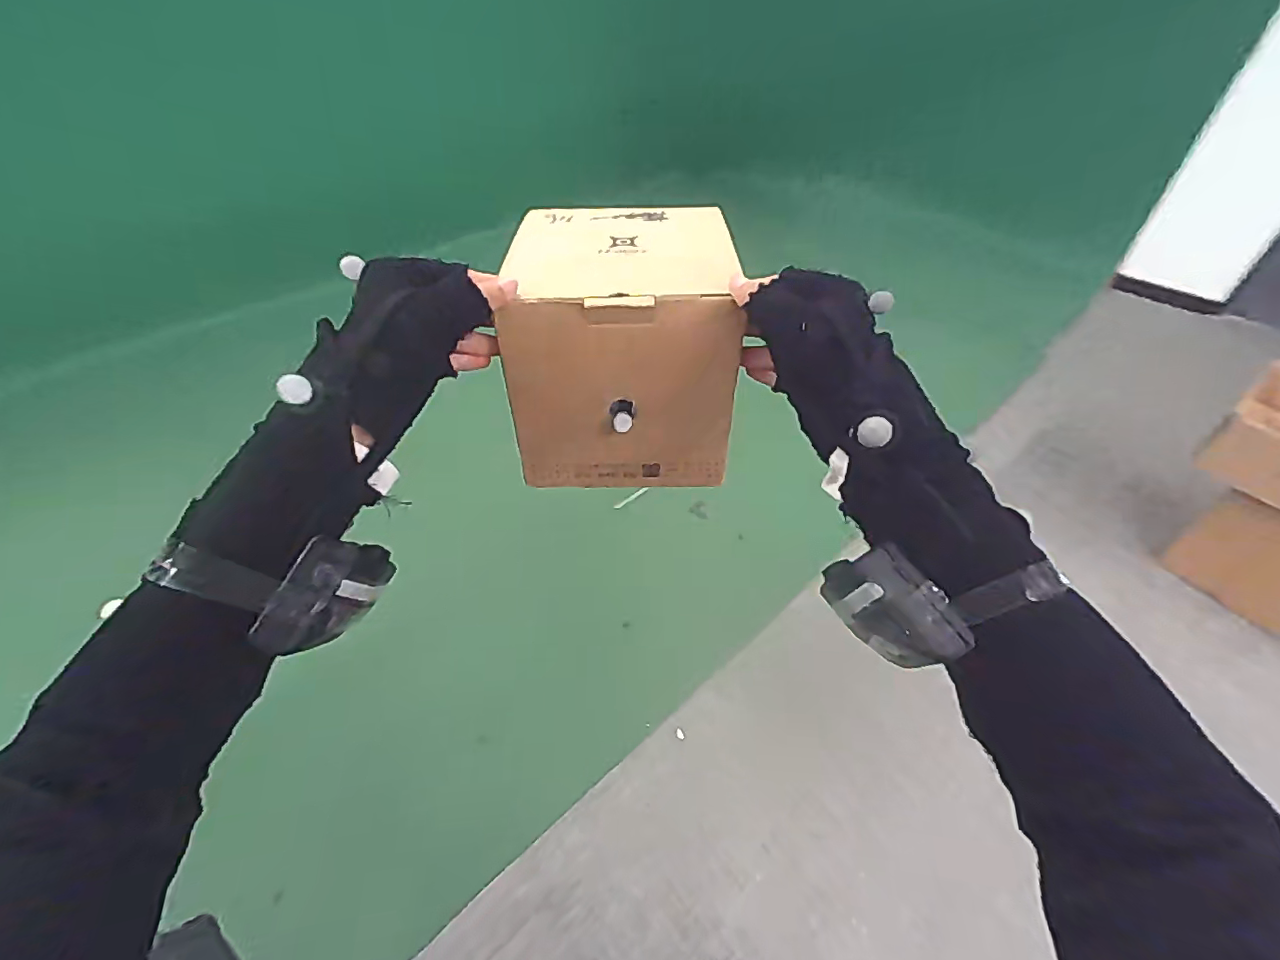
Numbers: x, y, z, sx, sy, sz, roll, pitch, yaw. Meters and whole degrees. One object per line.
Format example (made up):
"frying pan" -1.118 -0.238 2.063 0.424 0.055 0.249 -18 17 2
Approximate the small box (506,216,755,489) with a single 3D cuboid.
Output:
"small box" -0.003 -0.107 0.460 0.168 0.176 0.179 0 44 1
